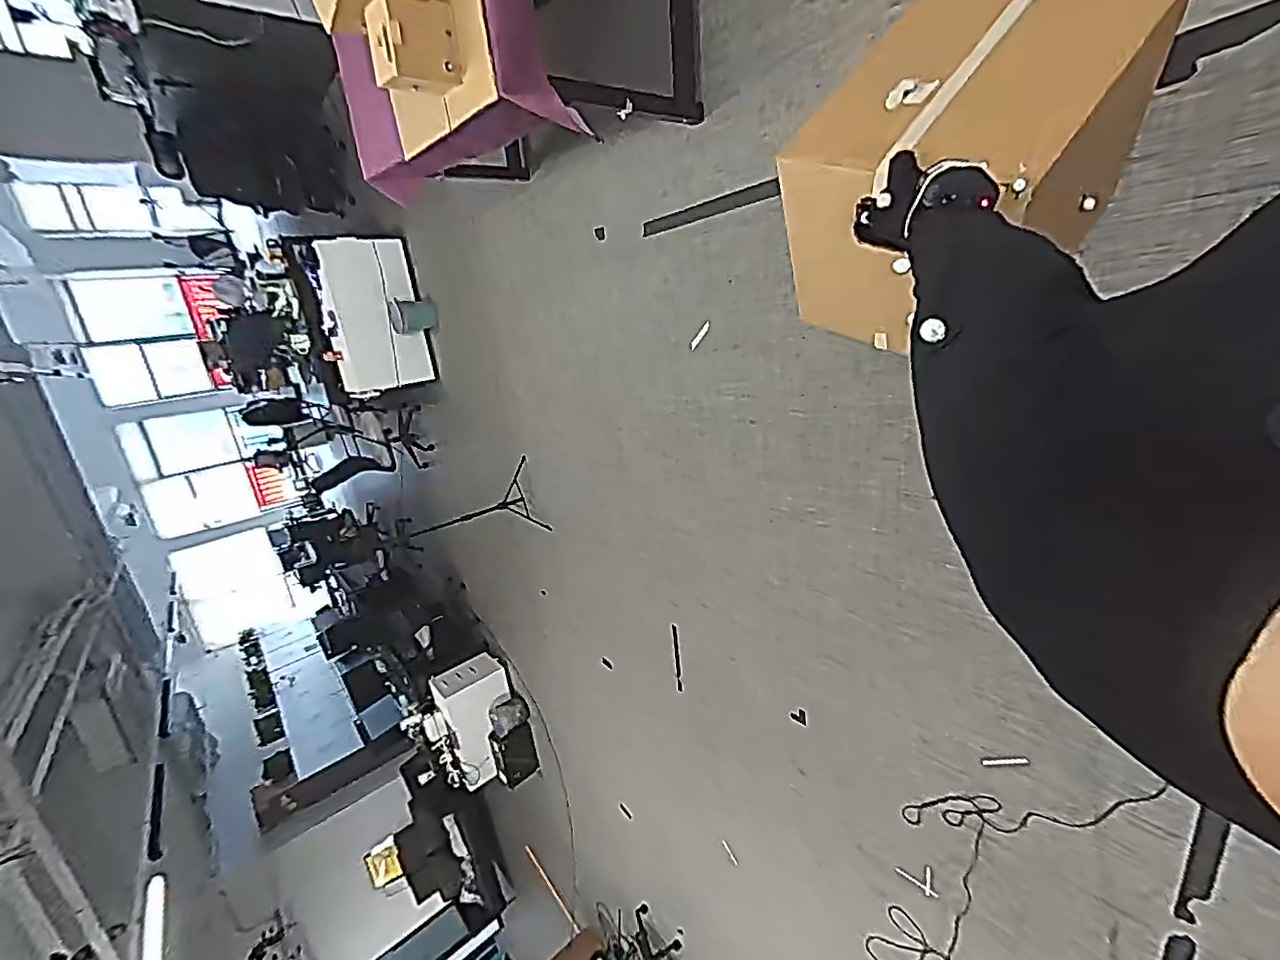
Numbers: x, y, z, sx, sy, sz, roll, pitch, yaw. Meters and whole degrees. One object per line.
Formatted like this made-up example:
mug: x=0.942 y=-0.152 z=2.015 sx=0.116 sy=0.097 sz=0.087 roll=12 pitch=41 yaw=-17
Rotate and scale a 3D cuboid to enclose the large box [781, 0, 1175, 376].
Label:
large box: x=0.472 y=-0.440 z=0.814 sx=0.320 sy=0.408 sz=0.320 roll=33 pitch=169 yaw=36
